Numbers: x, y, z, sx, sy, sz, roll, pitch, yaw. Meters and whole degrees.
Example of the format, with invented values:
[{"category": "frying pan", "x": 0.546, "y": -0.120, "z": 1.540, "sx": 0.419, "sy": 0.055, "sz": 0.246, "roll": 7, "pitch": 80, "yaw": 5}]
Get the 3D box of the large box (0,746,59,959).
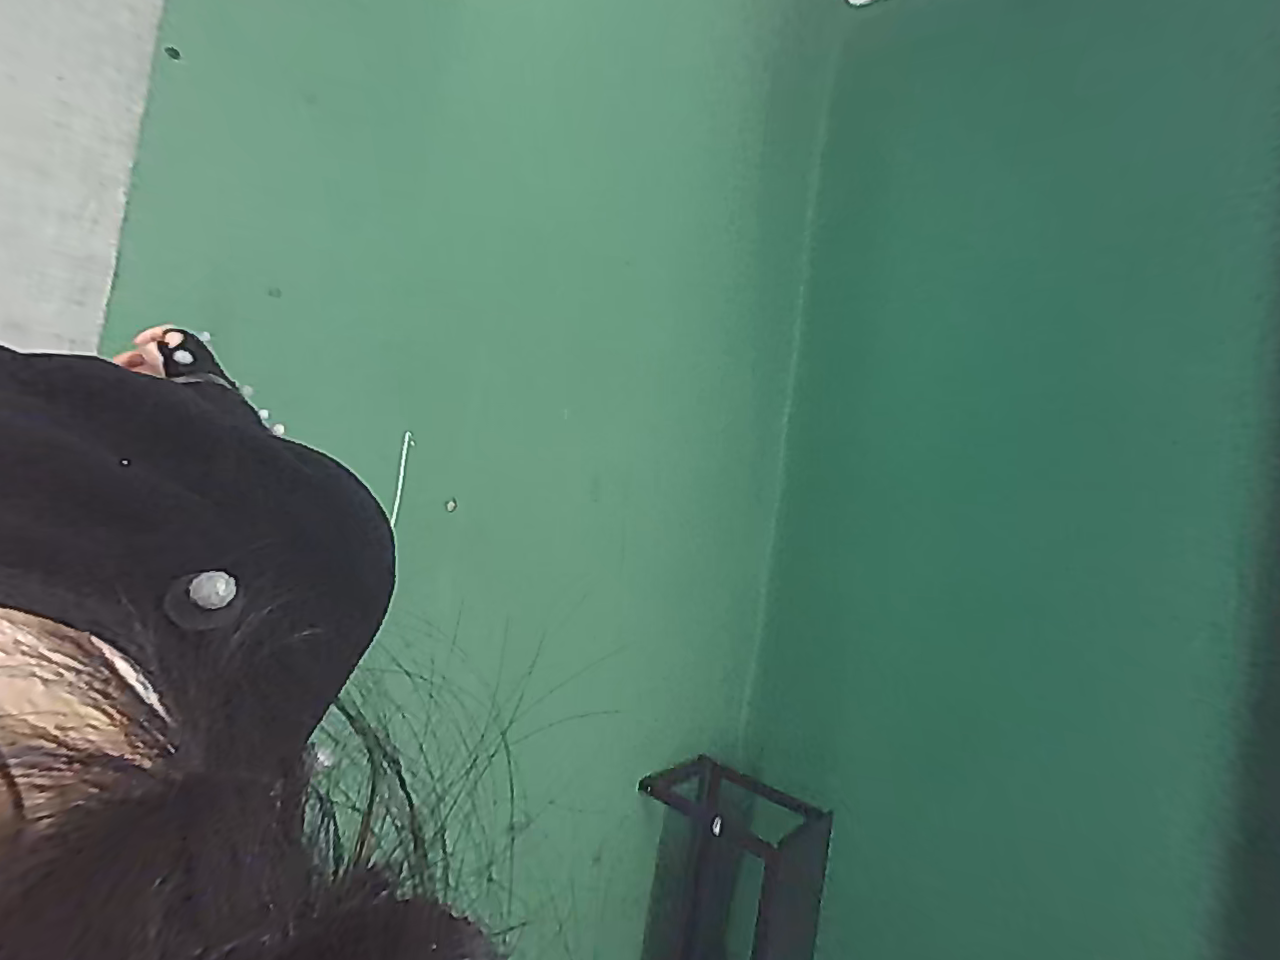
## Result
[{"category": "large box", "x": -1.219, "y": 0.693, "z": 0.822, "sx": 0.408, "sy": 0.320, "sz": 0.320, "roll": -12, "pitch": 105, "yaw": -51}]
